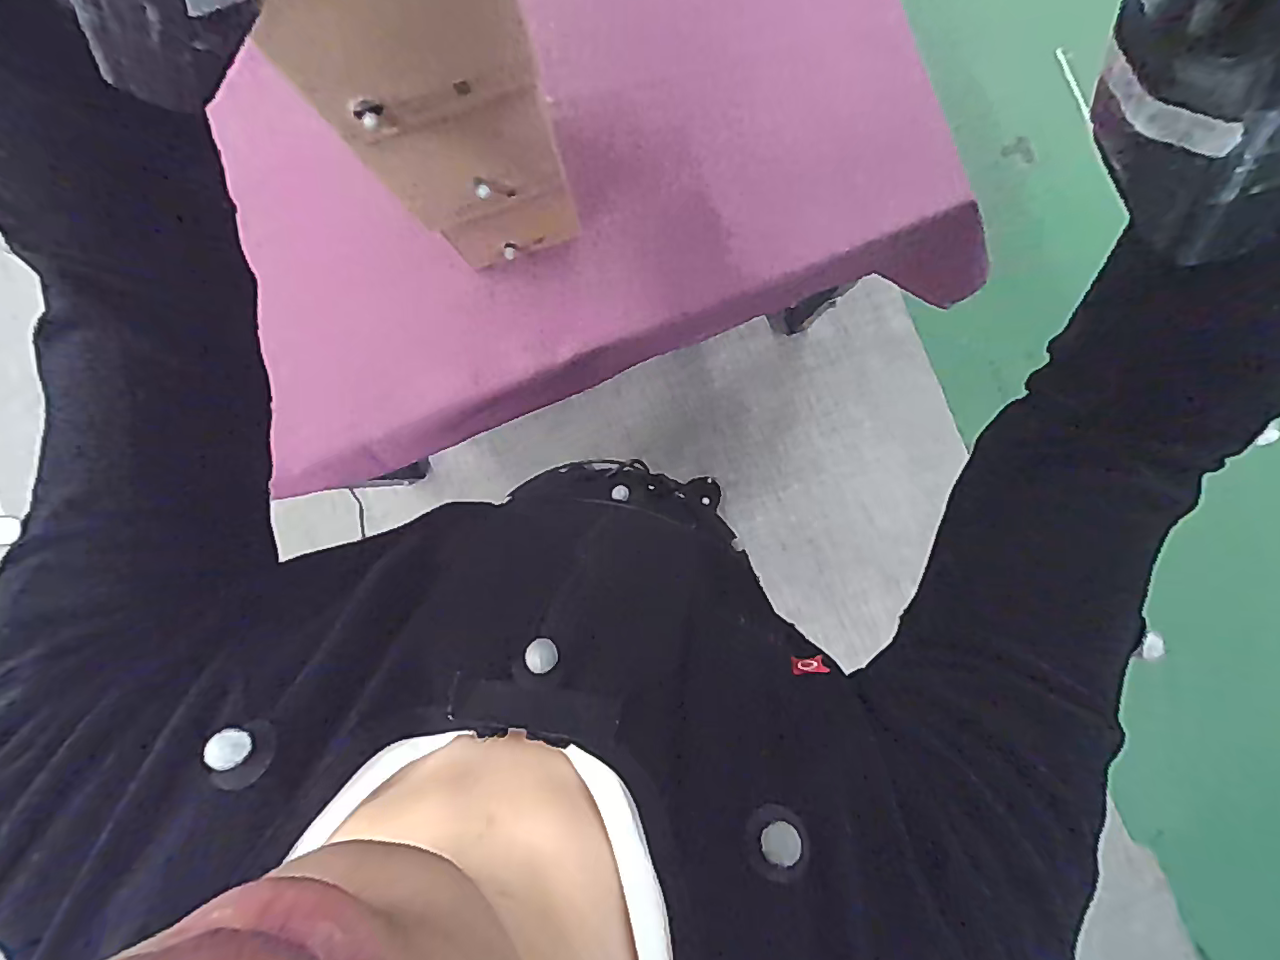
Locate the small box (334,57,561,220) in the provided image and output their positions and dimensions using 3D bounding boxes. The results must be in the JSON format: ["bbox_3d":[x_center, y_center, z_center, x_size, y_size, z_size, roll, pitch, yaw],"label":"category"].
[{"bbox_3d":[-0.187,-0.387,0.512,0.168,0.176,0.179,-20,91,2],"label":"small box"}]

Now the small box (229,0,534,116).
[{"bbox_3d":[-0.183,-0.378,0.348,0.168,0.176,0.179,-19,90,1],"label":"small box"}]

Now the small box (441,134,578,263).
[{"bbox_3d":[-0.187,-0.405,0.675,0.168,0.176,0.179,-18,91,1],"label":"small box"}]
